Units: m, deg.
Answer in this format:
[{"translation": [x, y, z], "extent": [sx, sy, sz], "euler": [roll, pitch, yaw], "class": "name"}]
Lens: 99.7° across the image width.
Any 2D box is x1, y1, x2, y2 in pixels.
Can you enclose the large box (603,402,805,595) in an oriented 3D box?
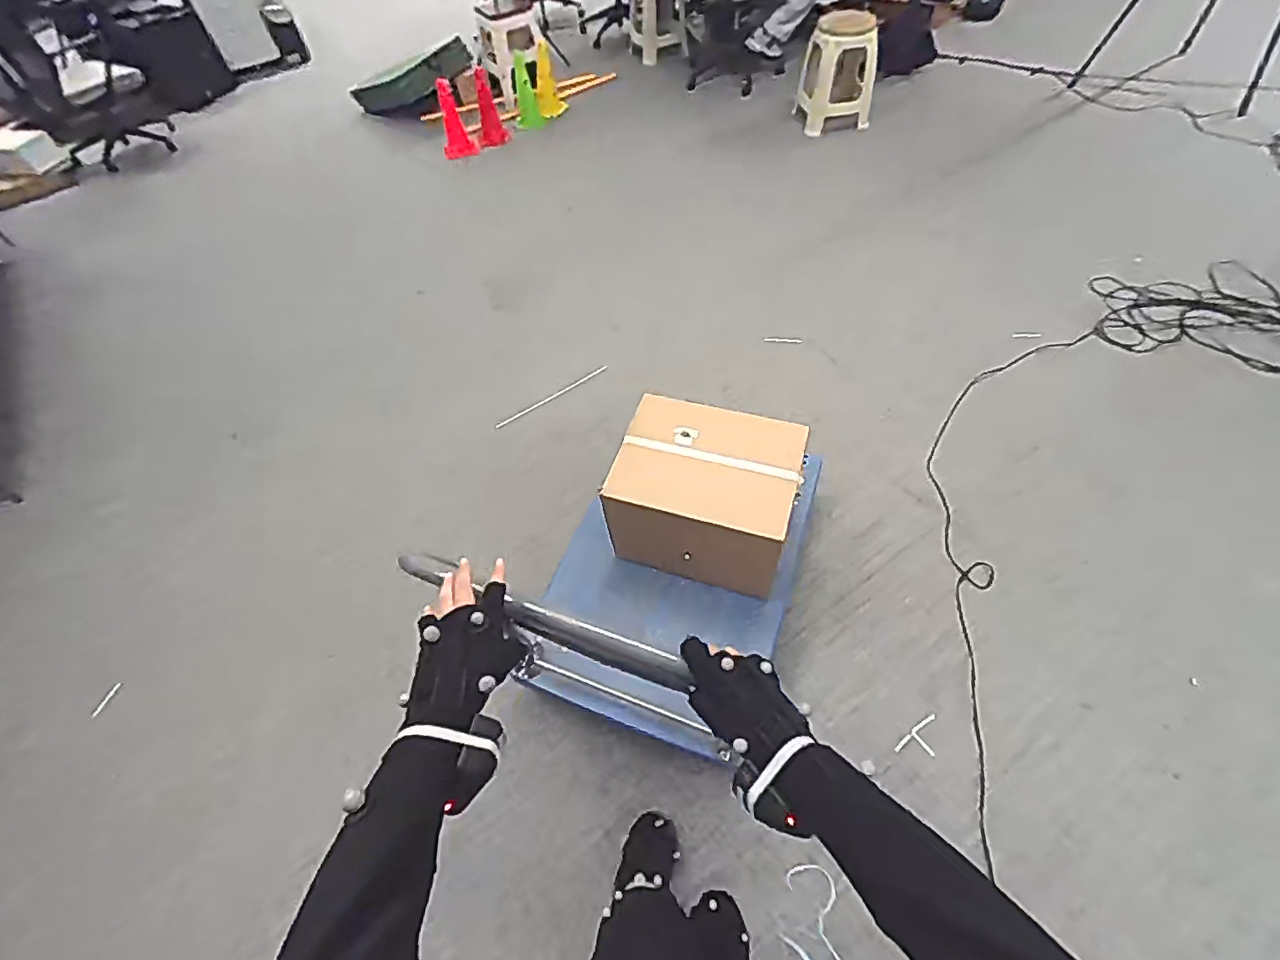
[{"translation": [0.168, 0.048, 1.337], "extent": [0.408, 0.320, 0.320], "euler": [12, 57, 15], "class": "large box"}]
